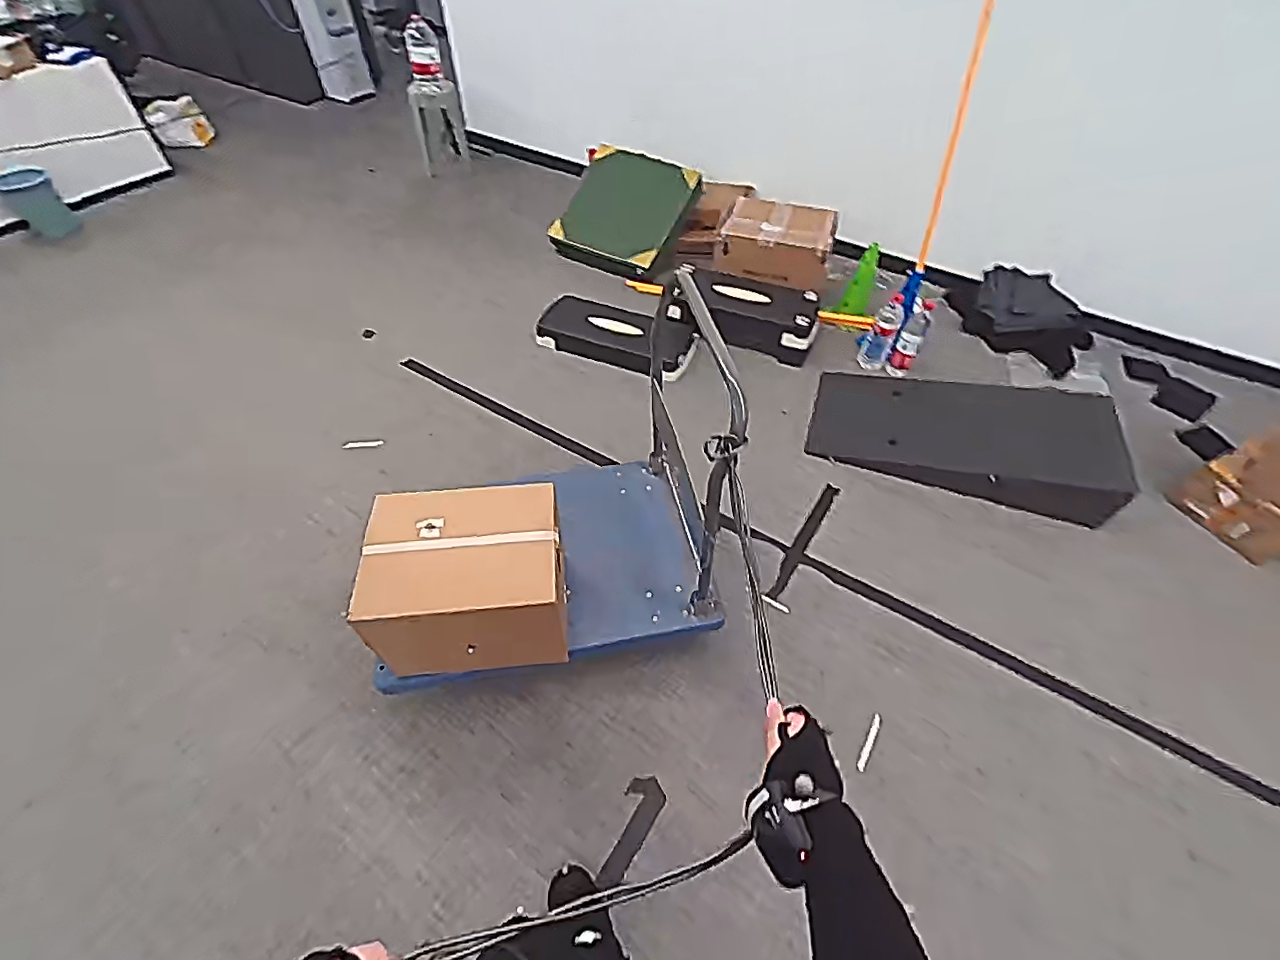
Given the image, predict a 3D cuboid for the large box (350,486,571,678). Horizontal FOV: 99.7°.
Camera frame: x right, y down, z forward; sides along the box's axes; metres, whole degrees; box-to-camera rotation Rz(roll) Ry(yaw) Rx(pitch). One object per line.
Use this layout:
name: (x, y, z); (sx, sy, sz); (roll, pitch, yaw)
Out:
large box: (-0.379, 0.241, 1.260); (0.408, 0.320, 0.320); (-5, 50, -5)
